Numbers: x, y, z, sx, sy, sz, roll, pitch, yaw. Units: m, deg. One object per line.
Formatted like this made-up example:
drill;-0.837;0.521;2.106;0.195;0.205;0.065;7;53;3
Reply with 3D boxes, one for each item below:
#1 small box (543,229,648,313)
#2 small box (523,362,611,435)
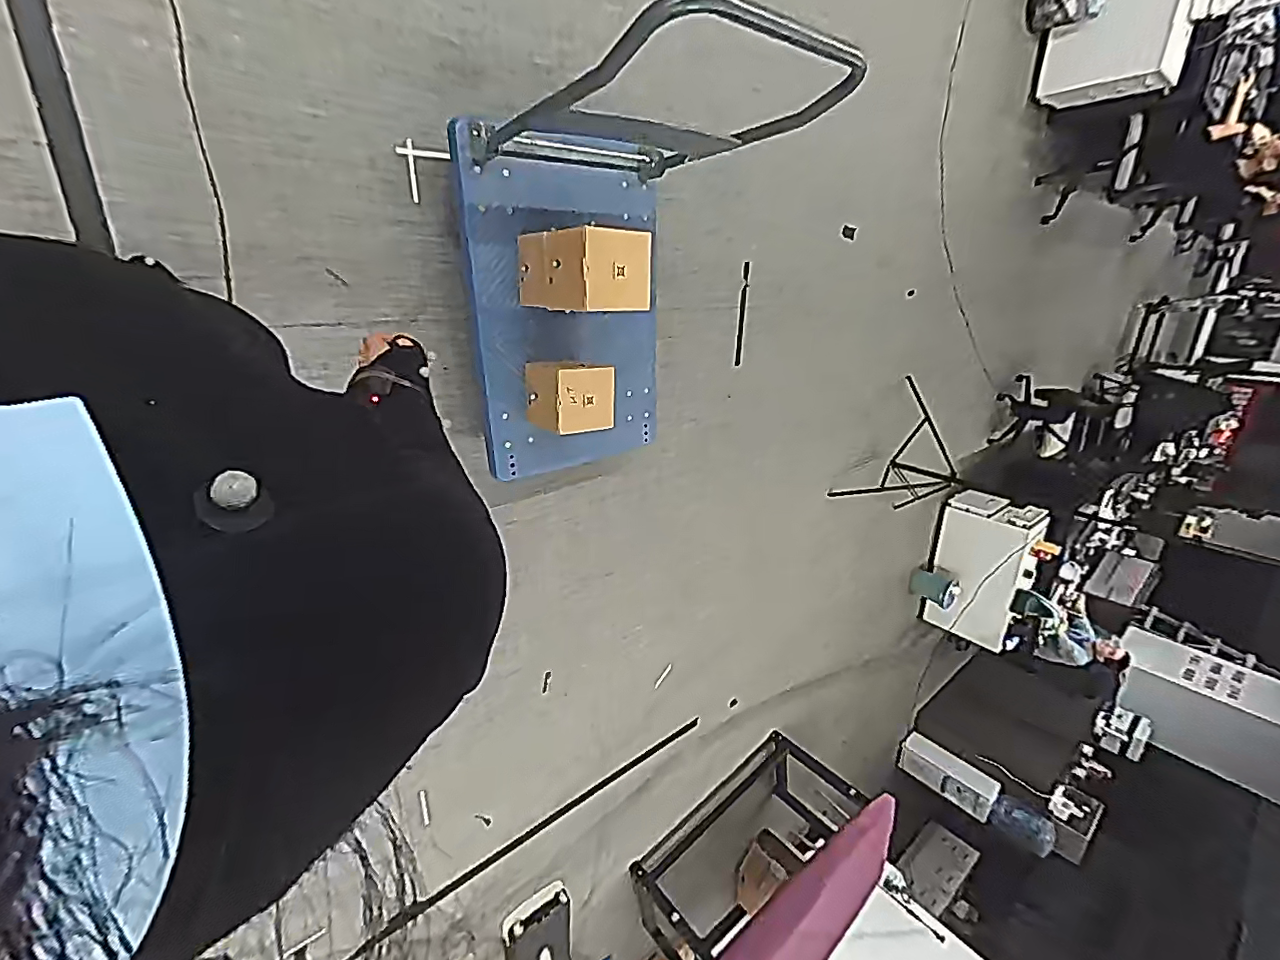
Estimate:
small box;-0.102;-0.467;1.220;0.179;0.176;0.168;-14;114;-36
small box;-0.197;-0.224;1.449;0.179;0.176;0.168;-12;112;-38
